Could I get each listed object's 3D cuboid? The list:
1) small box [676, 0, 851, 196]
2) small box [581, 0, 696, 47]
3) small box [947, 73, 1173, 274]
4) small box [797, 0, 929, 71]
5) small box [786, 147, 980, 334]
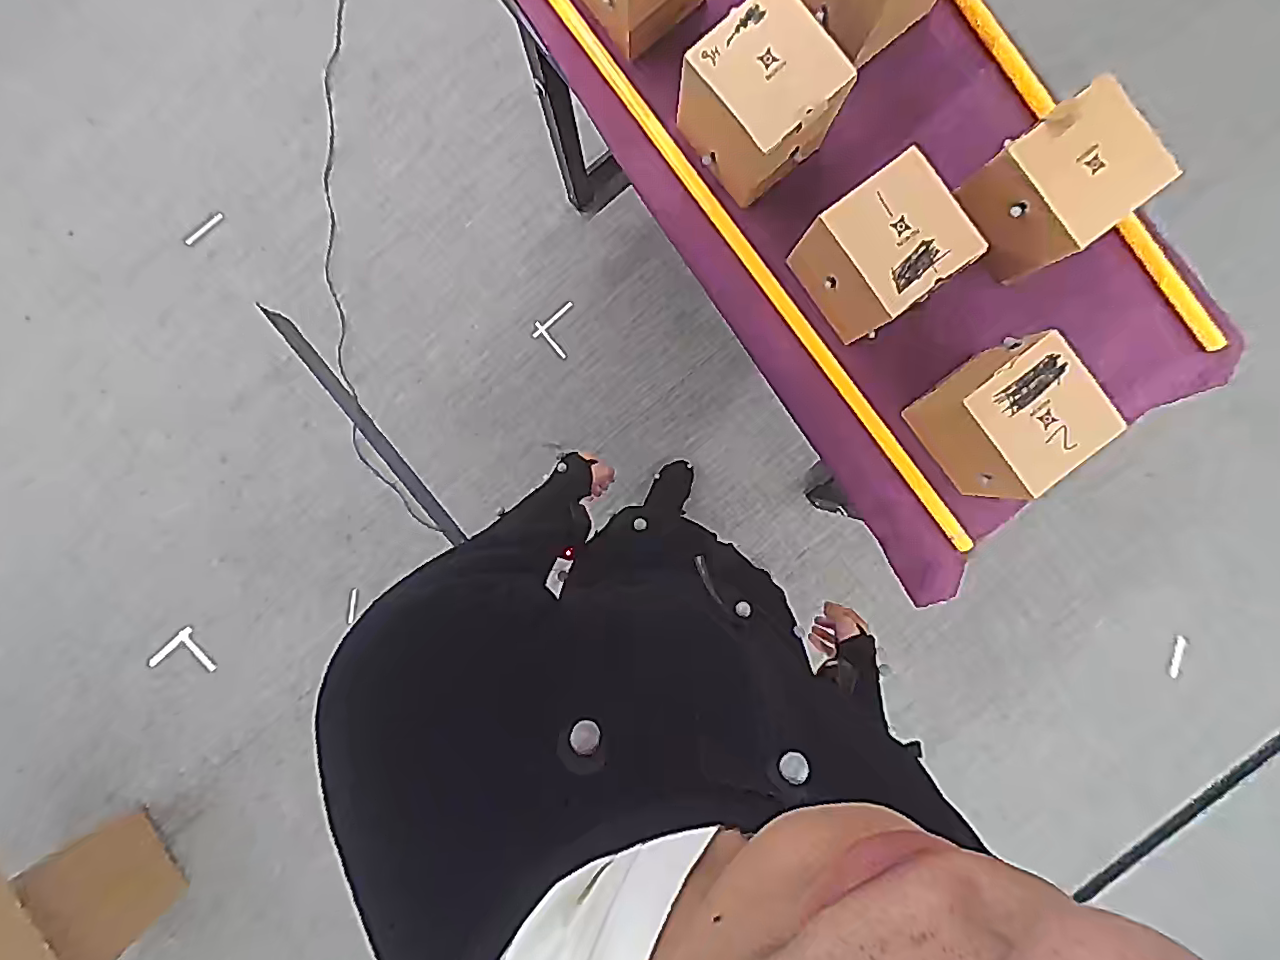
[{"bbox_3d":[0.171,-0.561,0.807,0.168,0.176,0.179,-40,93,2],"label":"small box"},{"bbox_3d":[-0.010,-0.794,0.795,0.168,0.176,0.179,-39,94,1],"label":"small box"},{"bbox_3d":[0.608,-0.436,0.811,0.168,0.176,0.179,-38,91,3],"label":"small box"},{"bbox_3d":[0.347,-0.769,0.796,0.179,0.176,0.168,-38,92,4],"label":"small box"},{"bbox_3d":[0.351,-0.340,0.815,0.168,0.176,0.179,-36,91,0],"label":"small box"}]
